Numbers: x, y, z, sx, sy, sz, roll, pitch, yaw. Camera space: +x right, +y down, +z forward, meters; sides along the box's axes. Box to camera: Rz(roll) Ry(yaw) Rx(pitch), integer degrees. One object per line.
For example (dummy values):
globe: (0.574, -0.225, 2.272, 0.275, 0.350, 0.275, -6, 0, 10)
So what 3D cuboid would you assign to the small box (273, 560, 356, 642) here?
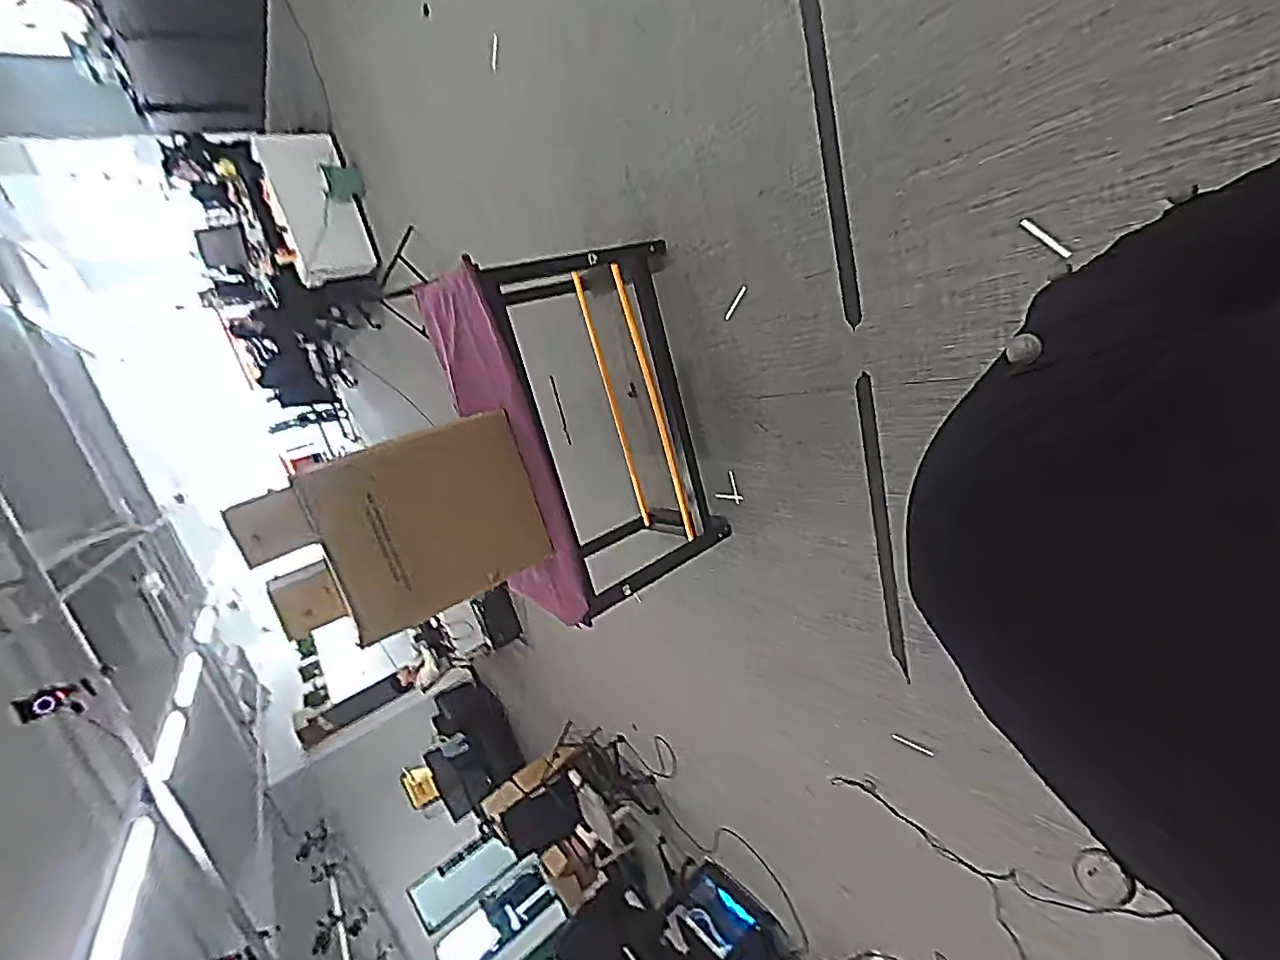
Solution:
small box: (-0.995, 0.363, 1.659, 0.179, 0.176, 0.168, 8, 117, 55)

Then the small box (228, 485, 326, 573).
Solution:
small box: (-0.974, 0.127, 1.464, 0.168, 0.176, 0.179, -1, 111, 56)
